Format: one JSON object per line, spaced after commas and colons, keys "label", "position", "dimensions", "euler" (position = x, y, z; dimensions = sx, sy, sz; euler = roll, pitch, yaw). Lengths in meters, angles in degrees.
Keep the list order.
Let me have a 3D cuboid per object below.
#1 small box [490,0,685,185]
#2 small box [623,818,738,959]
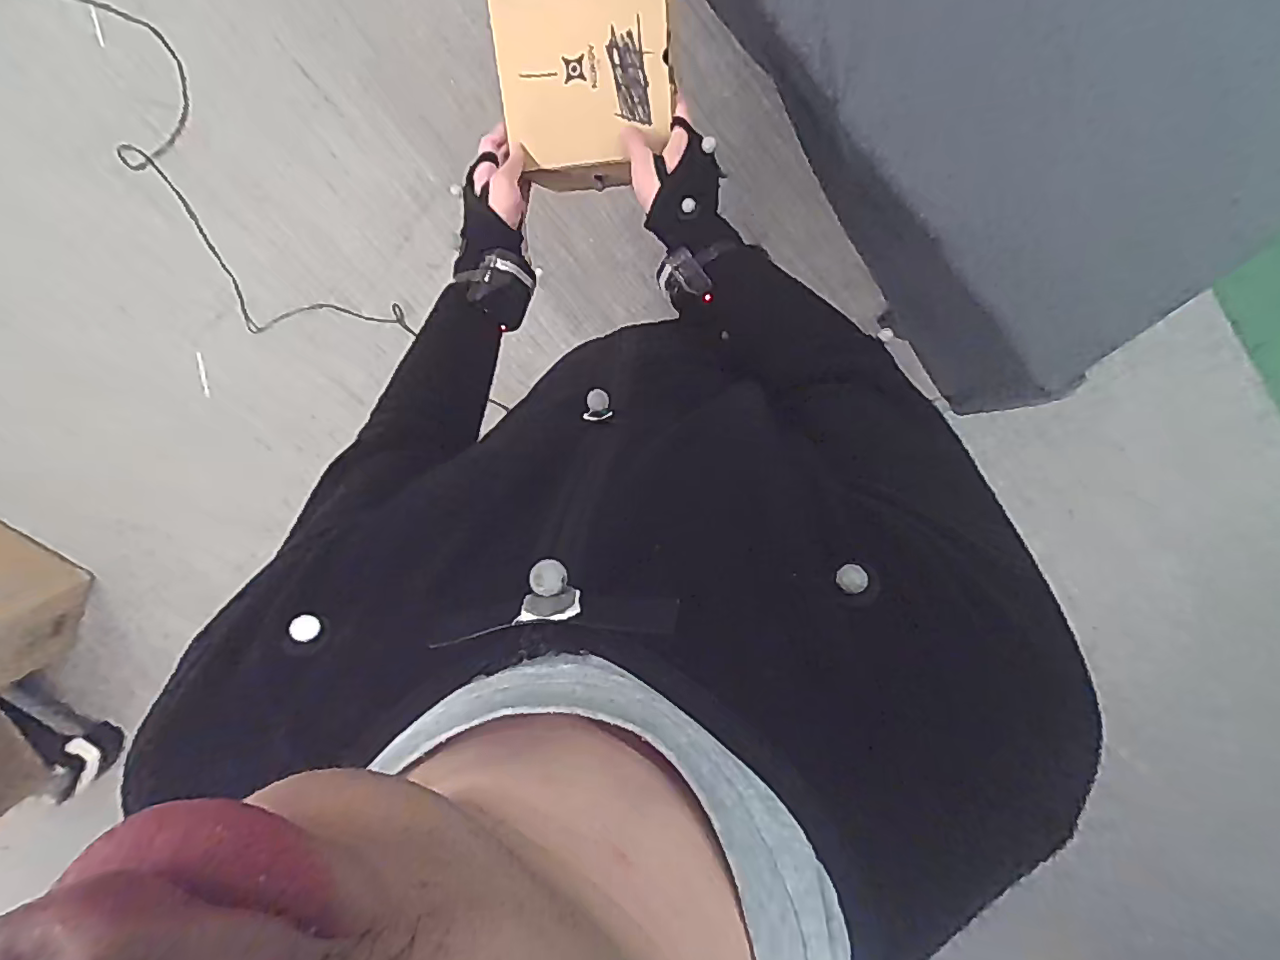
{"label": "small box", "position": [-0.041, -0.428, 0.586], "dimensions": [0.179, 0.176, 0.168], "euler": [-1, 110, 8]}
{"label": "small box", "position": [0.090, 0.875, 1.154], "dimensions": [0.179, 0.176, 0.168], "euler": [-36, 101, 16]}
